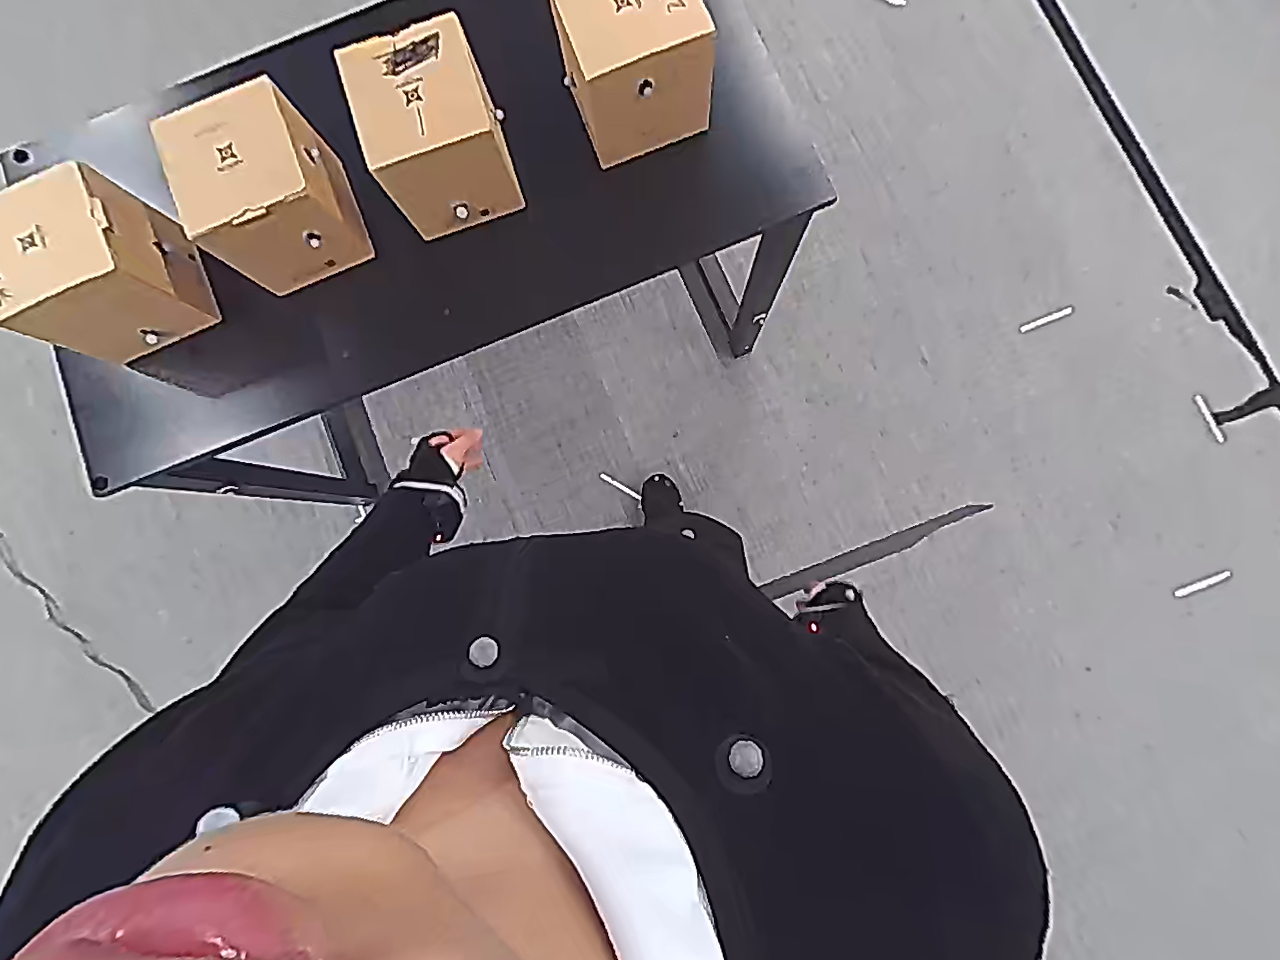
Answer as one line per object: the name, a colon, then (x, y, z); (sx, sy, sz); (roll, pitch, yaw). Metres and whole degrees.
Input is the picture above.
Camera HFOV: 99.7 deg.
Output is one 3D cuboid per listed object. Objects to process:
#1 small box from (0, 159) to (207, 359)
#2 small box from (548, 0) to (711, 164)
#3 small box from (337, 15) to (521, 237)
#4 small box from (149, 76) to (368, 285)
small box: (-0.760, -0.295, 0.758); (0.179, 0.176, 0.168); (-24, 83, -1)
small box: (-0.012, -0.588, 0.760); (0.179, 0.176, 0.168); (-20, 84, 0)
small box: (-0.283, -0.482, 0.760); (0.168, 0.176, 0.179); (-18, 84, 0)
small box: (-0.520, -0.401, 0.762); (0.168, 0.176, 0.179); (-23, 83, -1)
